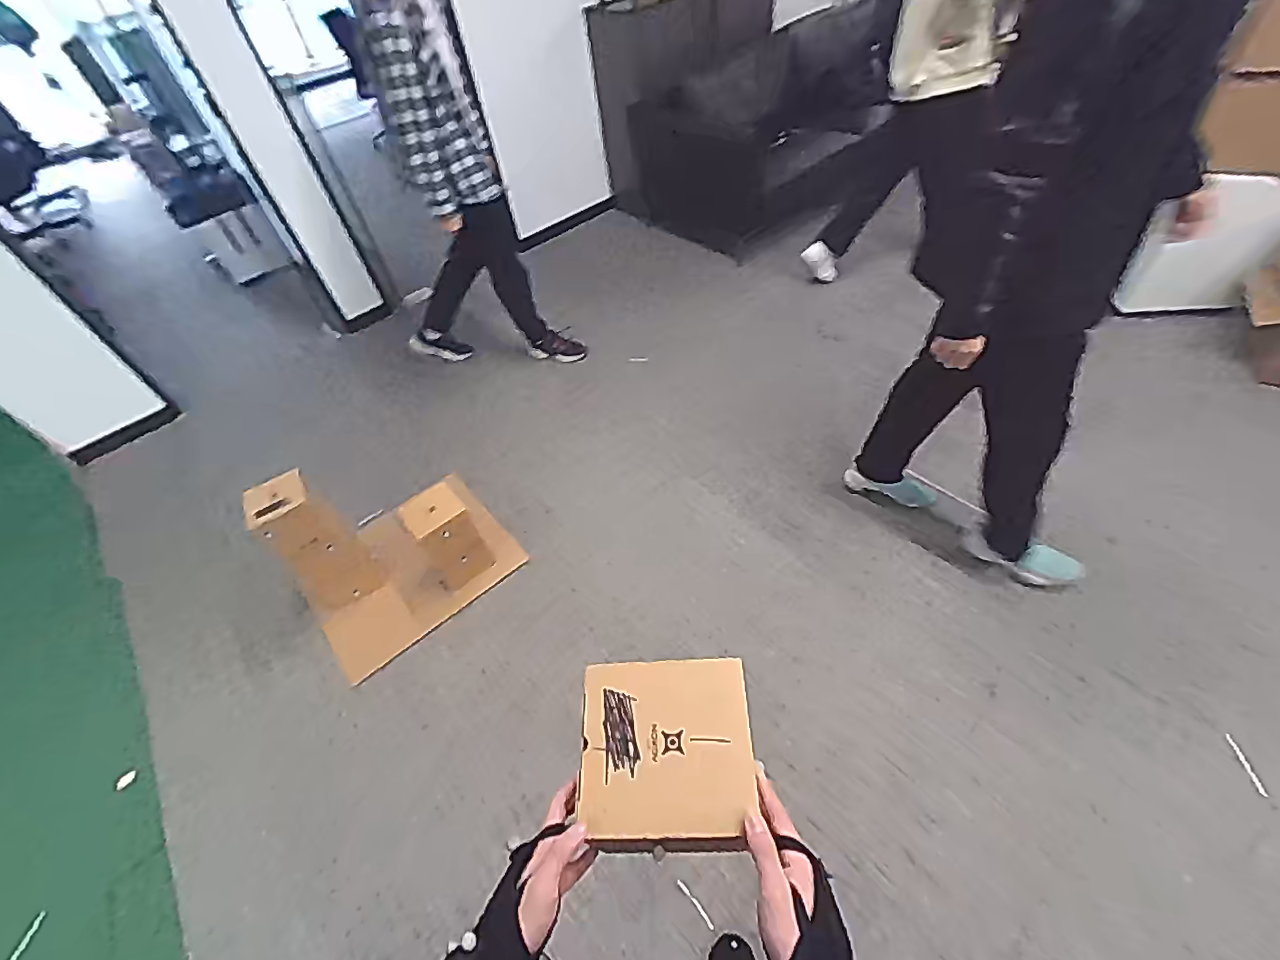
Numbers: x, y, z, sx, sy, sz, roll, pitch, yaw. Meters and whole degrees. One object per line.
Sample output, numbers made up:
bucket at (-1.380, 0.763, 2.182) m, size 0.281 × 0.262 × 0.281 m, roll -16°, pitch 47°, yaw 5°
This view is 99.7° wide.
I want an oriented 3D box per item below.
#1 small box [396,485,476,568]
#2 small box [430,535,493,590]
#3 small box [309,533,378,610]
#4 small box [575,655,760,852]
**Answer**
small box at (-0.664, 0.156, 1.791) m, size 0.179 × 0.176 × 0.168 m, roll -37°, pitch 55°, yaw -21°
small box at (-0.652, 0.257, 1.916) m, size 0.179 × 0.176 × 0.168 m, roll -35°, pitch 54°, yaw -21°
small box at (-1.051, 0.325, 1.911) m, size 0.179 × 0.176 × 0.168 m, roll -29°, pitch 51°, yaw -17°
small box at (0.034, 0.312, 0.609) m, size 0.179 × 0.176 × 0.168 m, roll -5°, pitch 51°, yaw 4°
